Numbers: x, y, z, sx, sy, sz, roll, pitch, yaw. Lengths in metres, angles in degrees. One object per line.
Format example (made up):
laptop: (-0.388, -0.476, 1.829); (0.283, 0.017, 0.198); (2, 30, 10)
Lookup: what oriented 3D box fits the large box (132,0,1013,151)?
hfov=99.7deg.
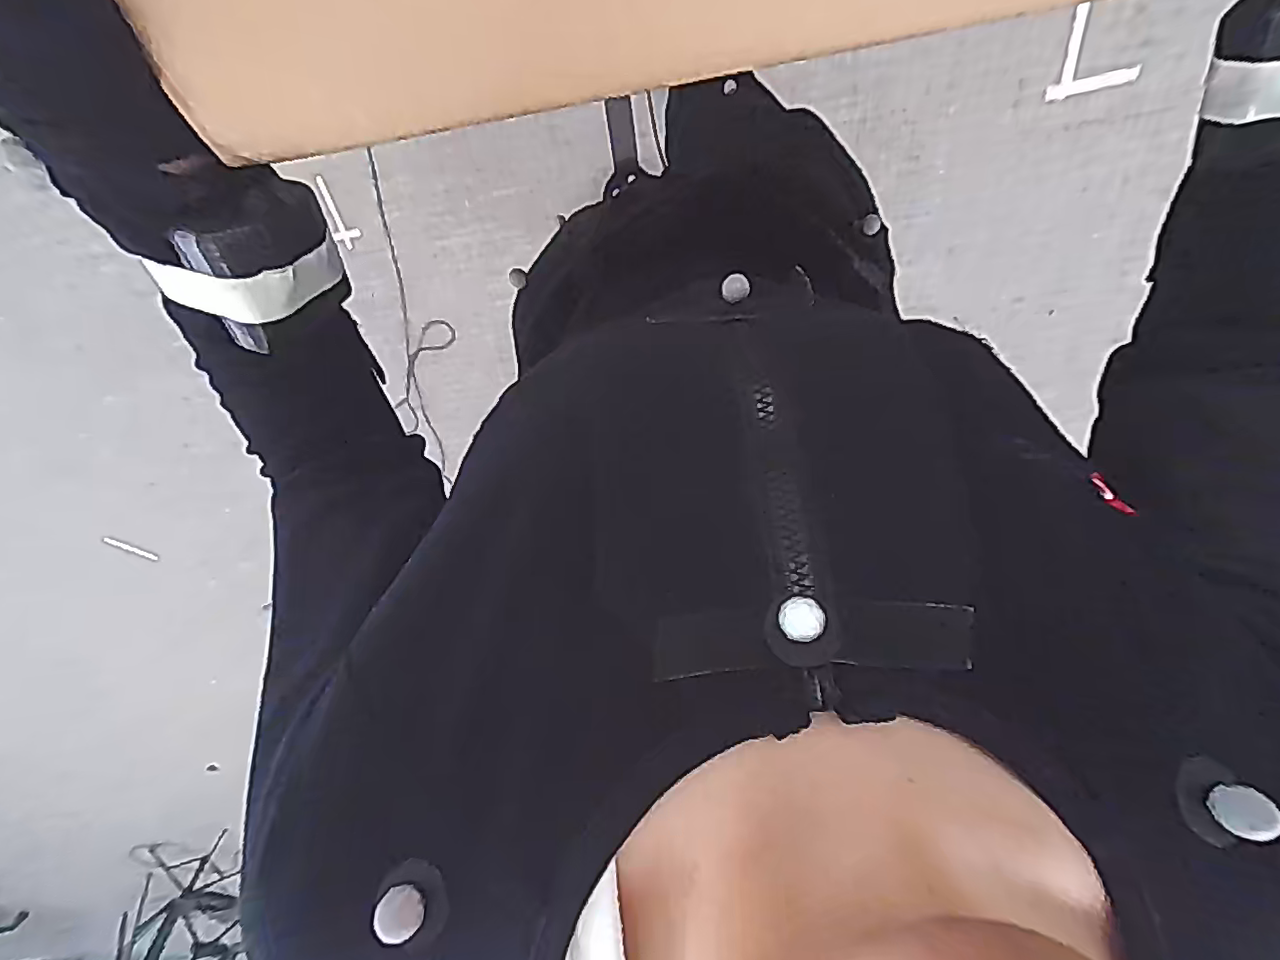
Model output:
large box: (-0.003, -0.372, 0.170); (0.408, 0.320, 0.320); (-8, 145, 4)
